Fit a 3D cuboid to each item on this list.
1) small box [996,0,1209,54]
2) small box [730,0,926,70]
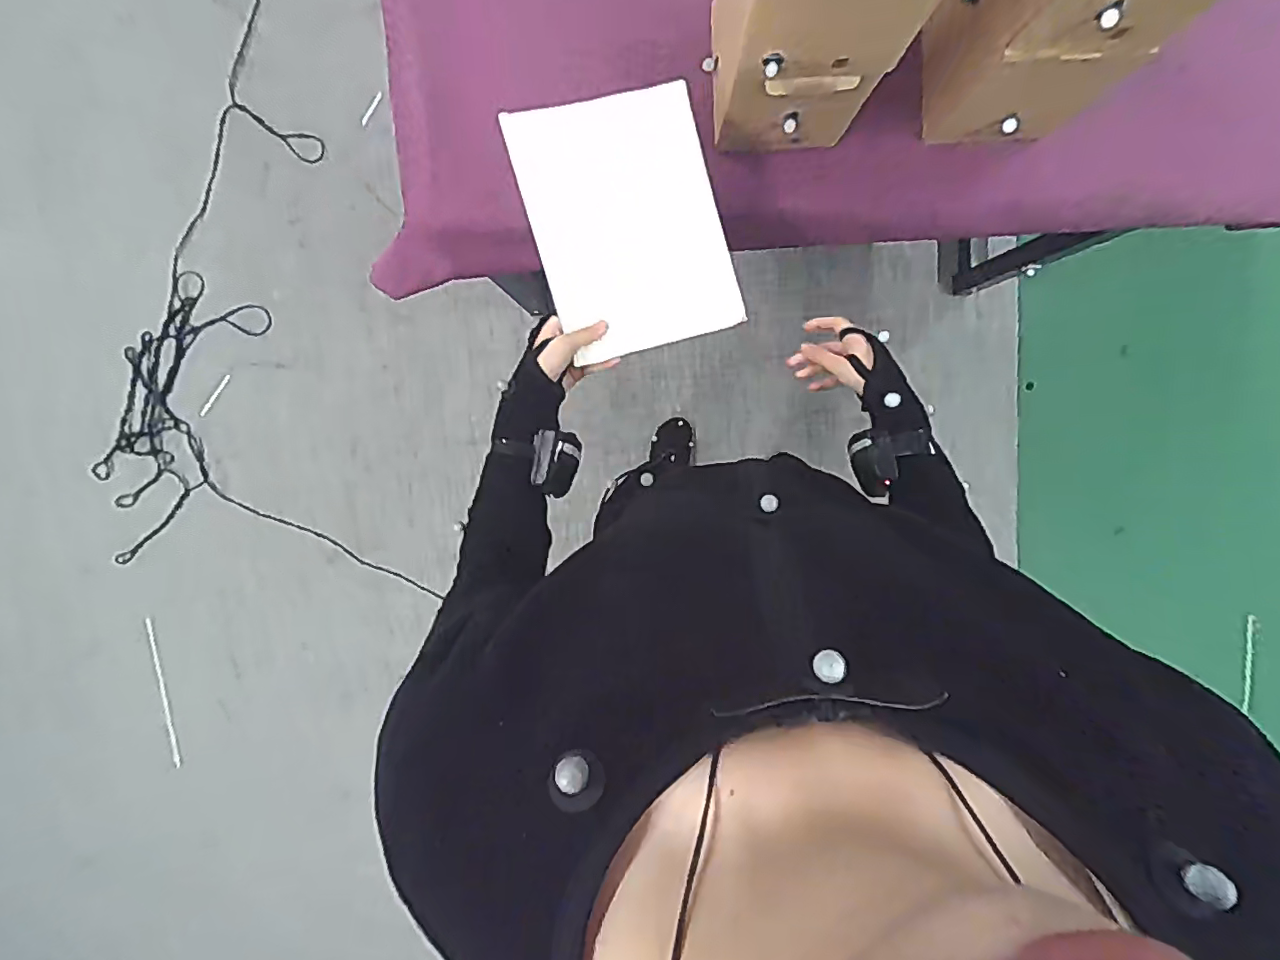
[{"bbox_3d":[0.447,-0.525,0.475,0.168,0.176,0.179,-2,95,1],"label":"small box"},{"bbox_3d":[0.175,-0.503,0.481,0.168,0.176,0.179,-2,95,1],"label":"small box"}]
